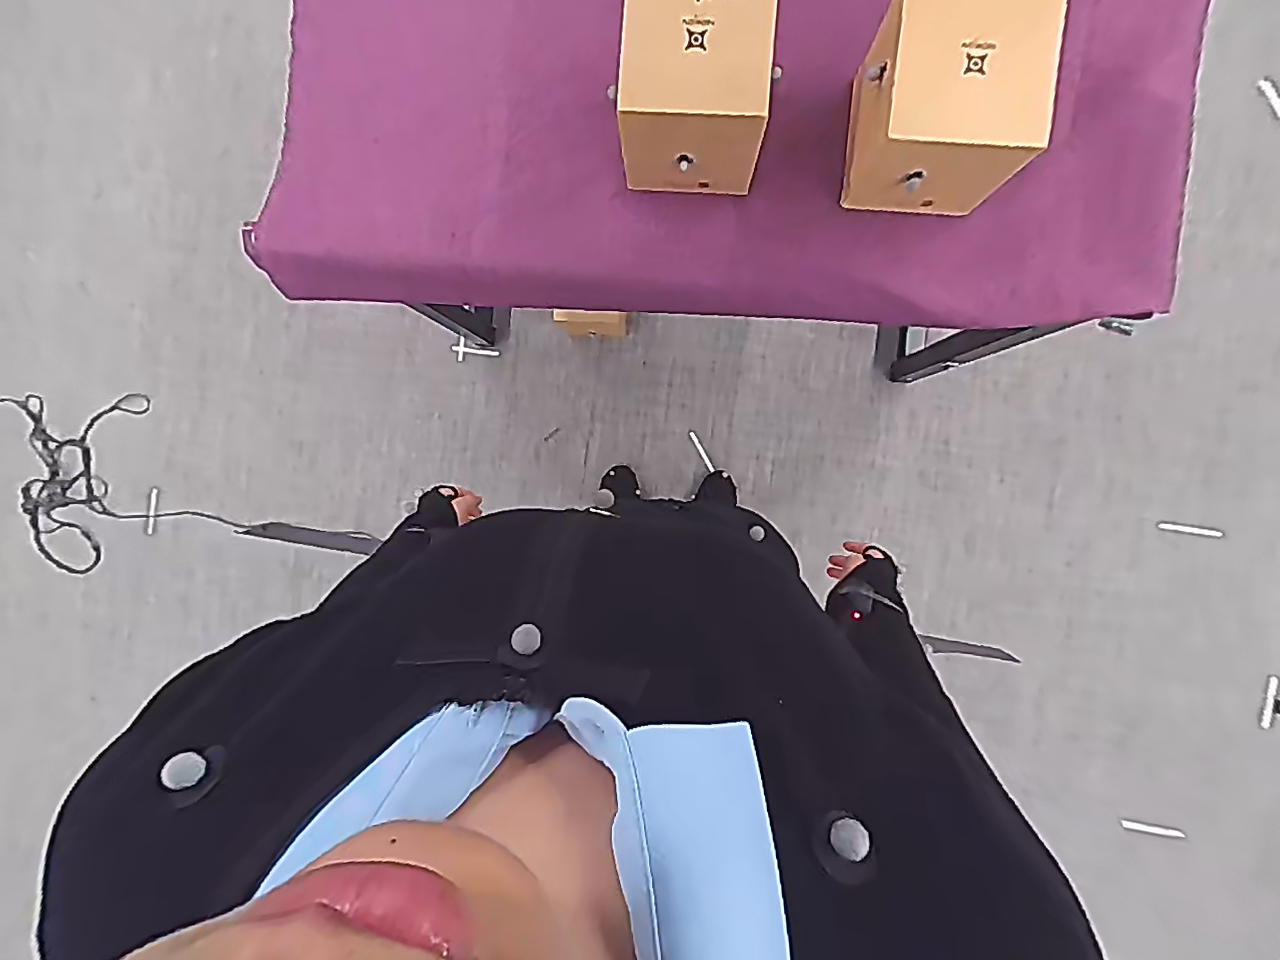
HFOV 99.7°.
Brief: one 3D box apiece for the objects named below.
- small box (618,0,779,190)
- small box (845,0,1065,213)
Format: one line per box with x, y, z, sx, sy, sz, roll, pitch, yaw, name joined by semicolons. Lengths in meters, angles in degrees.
0.069;-0.484;0.664;0.168;0.176;0.179;5;91;2;small box
0.357;-0.444;0.648;0.168;0.176;0.179;6;92;4;small box
